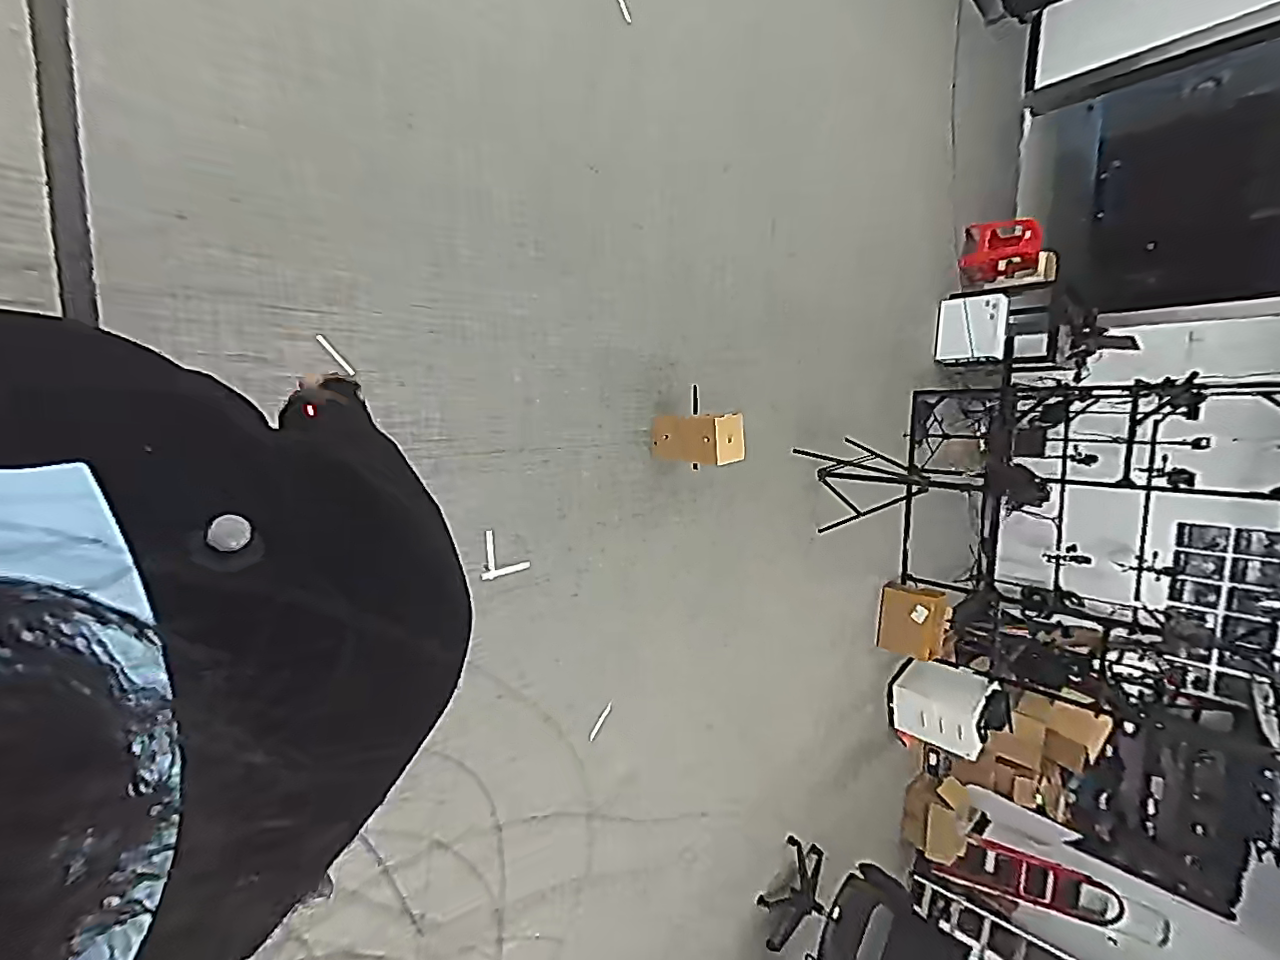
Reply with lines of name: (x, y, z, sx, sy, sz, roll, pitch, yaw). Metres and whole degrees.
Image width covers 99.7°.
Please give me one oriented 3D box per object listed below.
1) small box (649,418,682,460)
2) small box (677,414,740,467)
small box: (0.150, -0.163, 2.156, 0.179, 0.176, 0.168, -3, 98, -44)
small box: (0.256, -0.153, 2.032, 0.168, 0.176, 0.179, -15, 104, -42)
